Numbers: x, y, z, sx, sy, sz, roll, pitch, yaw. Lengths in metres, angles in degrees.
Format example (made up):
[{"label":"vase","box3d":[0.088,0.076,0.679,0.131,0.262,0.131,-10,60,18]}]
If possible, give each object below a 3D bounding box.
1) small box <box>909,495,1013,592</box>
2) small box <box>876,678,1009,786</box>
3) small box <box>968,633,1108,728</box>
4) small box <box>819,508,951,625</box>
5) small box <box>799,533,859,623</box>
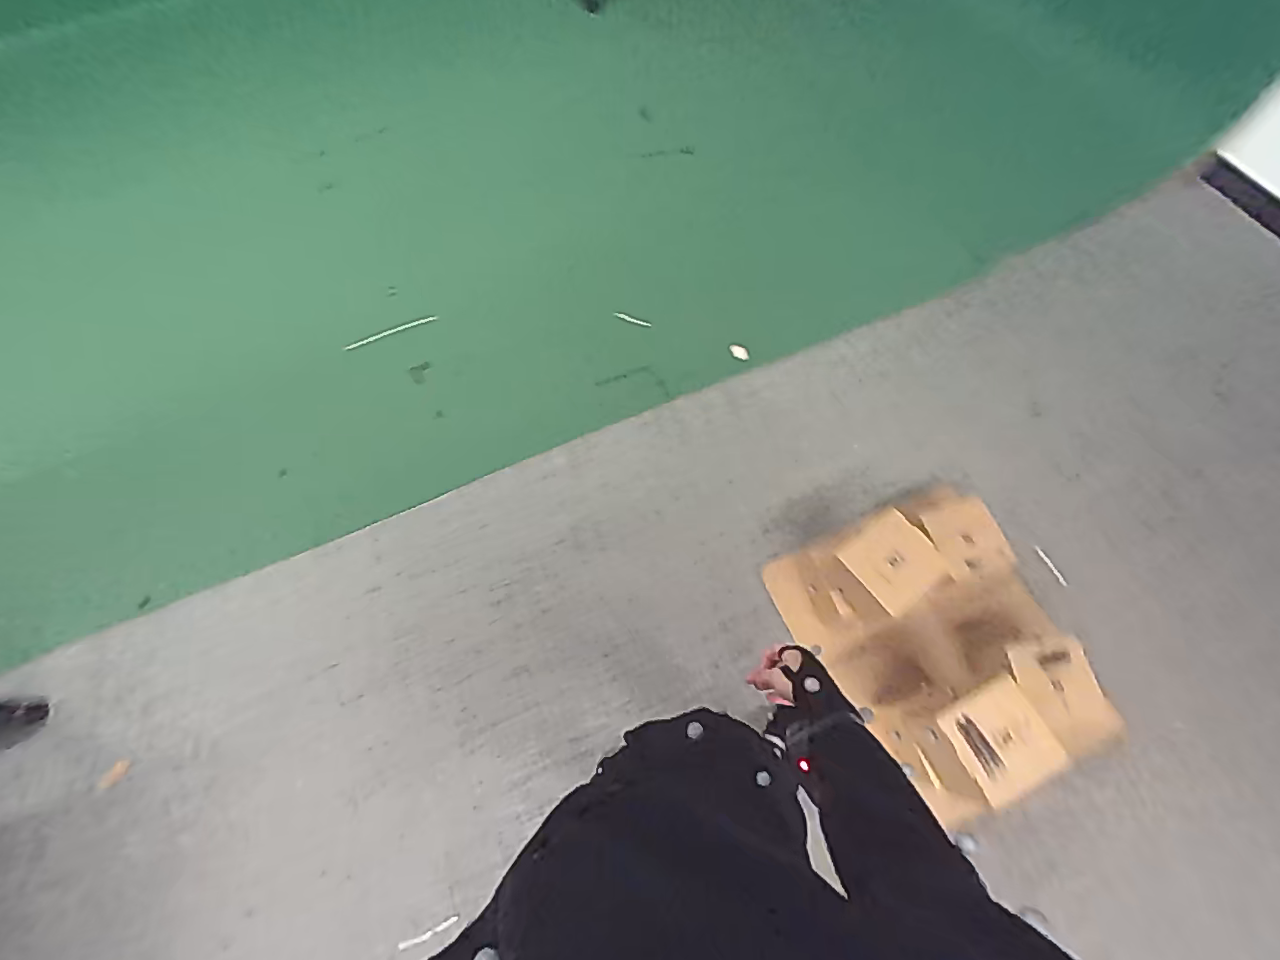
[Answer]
[{"label":"small box","box3d":[0.776,0.164,1.365,0.168,0.176,0.179,-17,67,-5]},{"label":"small box","box3d":[0.655,0.557,1.204,0.179,0.176,0.168,-19,68,-6]},{"label":"small box","box3d":[0.890,0.458,1.232,0.168,0.176,0.179,-8,69,-1]},{"label":"small box","box3d":[0.524,0.194,1.186,0.179,0.176,0.168,-35,70,-11]},{"label":"small box","box3d":[0.513,0.244,1.343,0.179,0.176,0.168,-18,69,-5]}]
